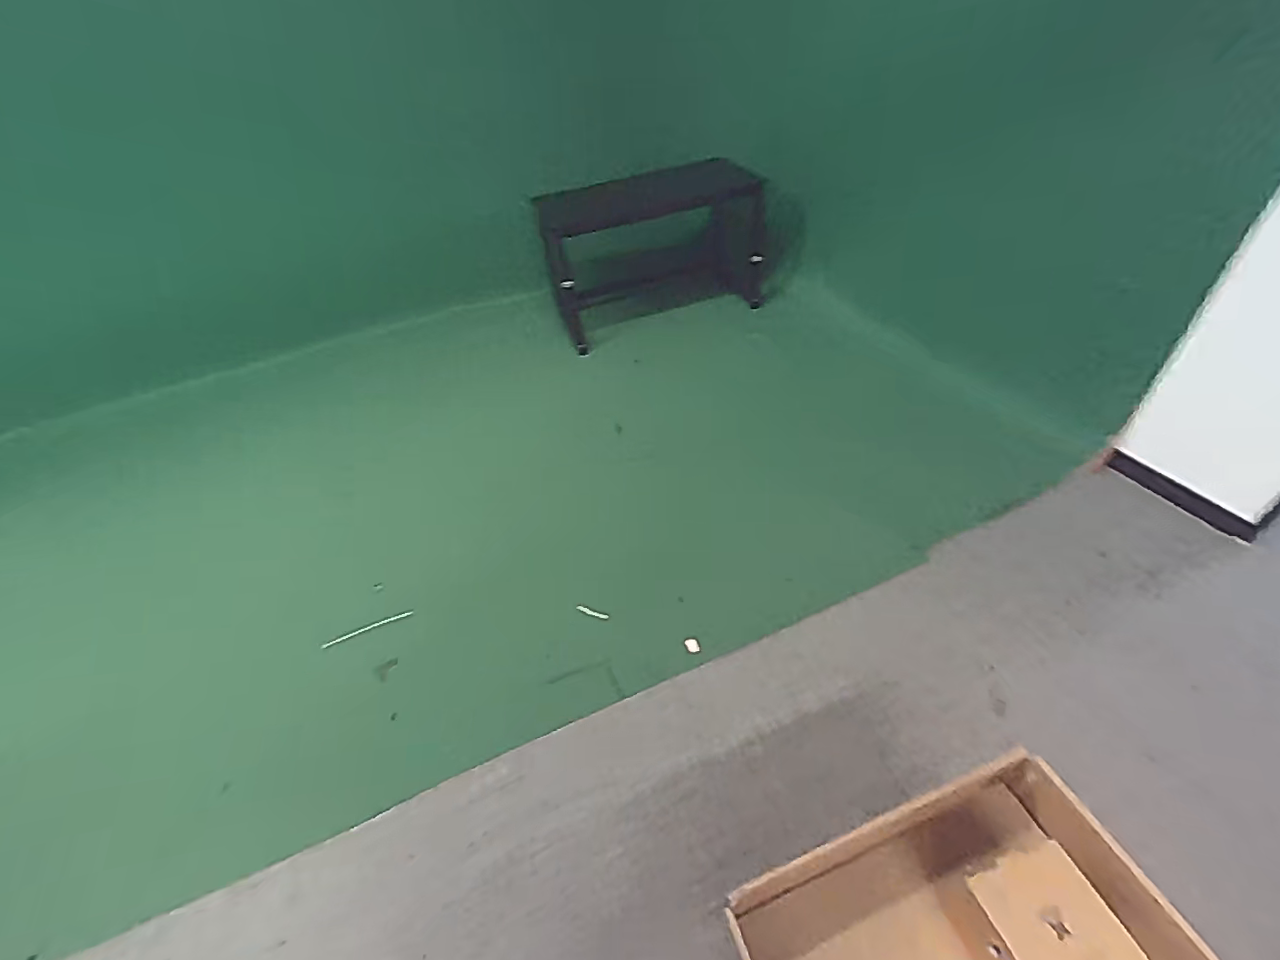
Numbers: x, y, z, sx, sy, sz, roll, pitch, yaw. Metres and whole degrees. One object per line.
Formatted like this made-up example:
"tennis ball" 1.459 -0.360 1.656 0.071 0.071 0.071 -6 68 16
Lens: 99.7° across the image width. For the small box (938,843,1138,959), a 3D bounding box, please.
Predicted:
"small box" 0.600 0.704 0.831 0.168 0.176 0.179 -16 45 -9
